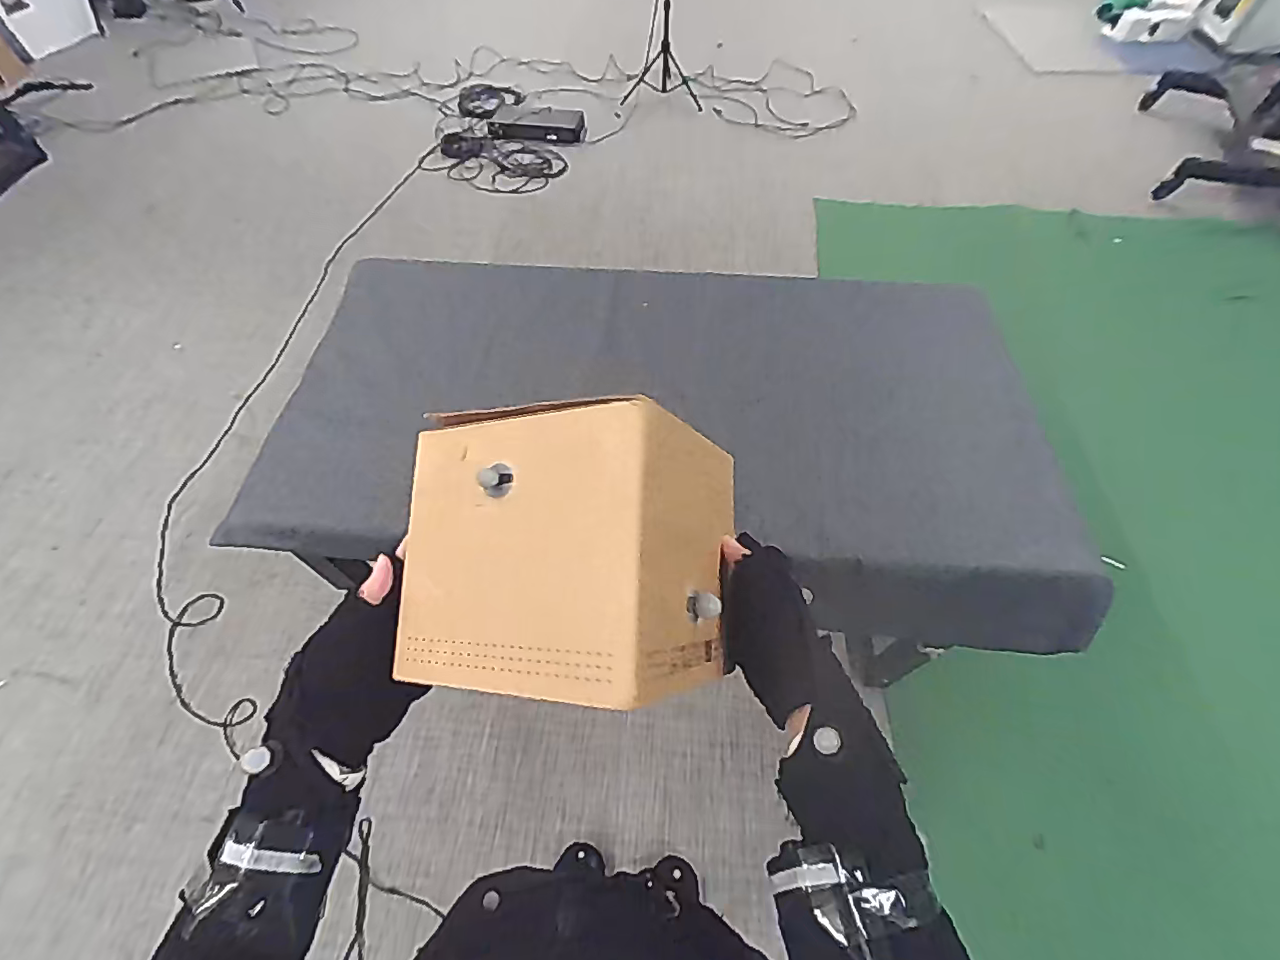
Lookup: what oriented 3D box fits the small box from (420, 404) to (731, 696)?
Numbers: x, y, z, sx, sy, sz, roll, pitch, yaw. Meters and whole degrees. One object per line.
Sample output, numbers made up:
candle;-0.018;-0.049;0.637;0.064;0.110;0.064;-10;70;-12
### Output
small box;-0.039;0.057;0.405;0.179;0.168;0.176;-3;78;26
